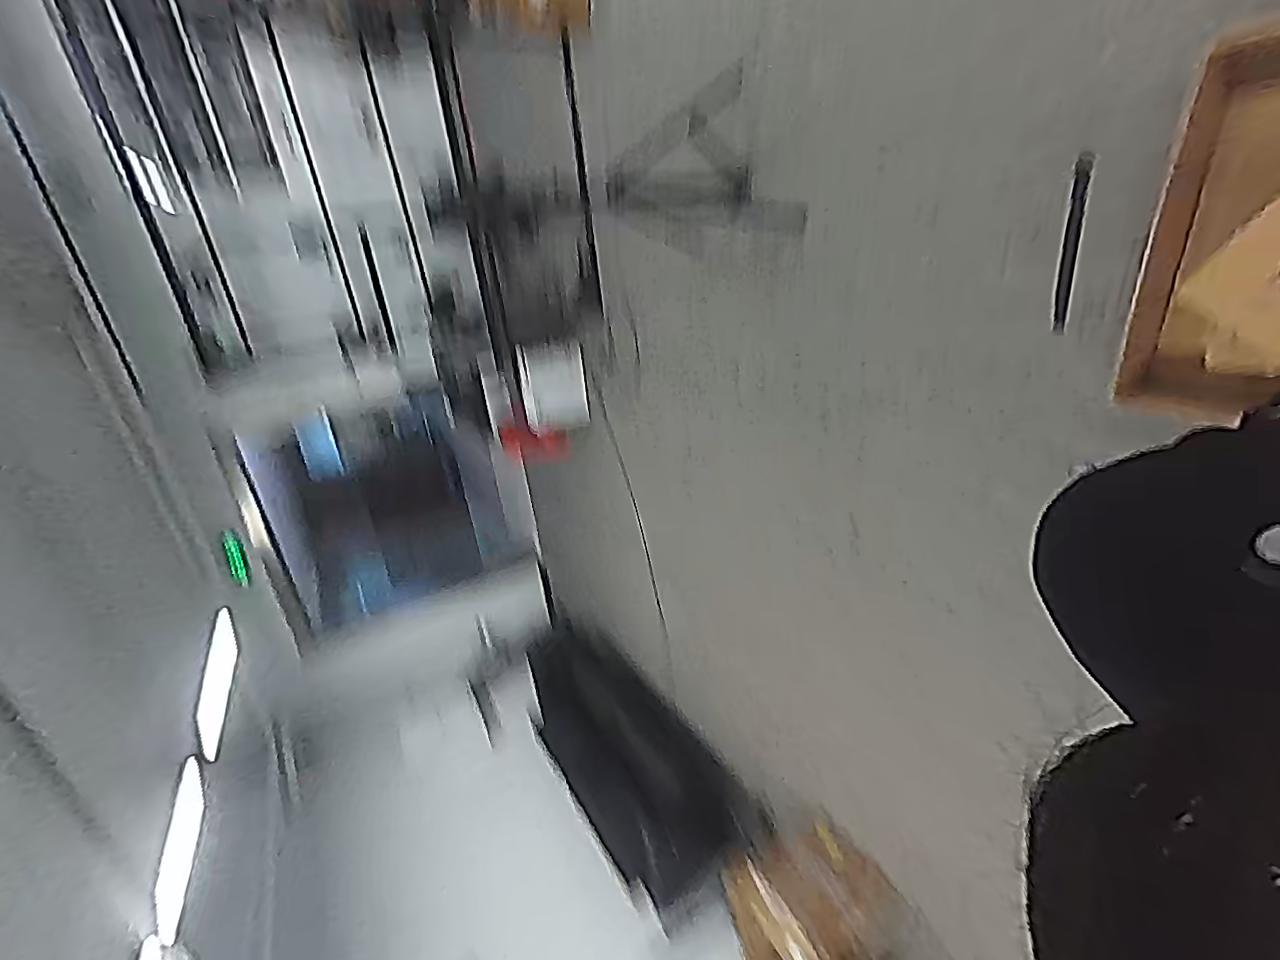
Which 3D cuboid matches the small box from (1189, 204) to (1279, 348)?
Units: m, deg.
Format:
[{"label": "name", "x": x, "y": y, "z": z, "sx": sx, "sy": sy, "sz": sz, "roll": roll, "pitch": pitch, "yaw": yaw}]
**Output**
[{"label": "small box", "x": 0.971, "y": -0.307, "z": 0.767, "sx": 0.168, "sy": 0.176, "sz": 0.179, "roll": 58, "pitch": 153, "yaw": 31}]
